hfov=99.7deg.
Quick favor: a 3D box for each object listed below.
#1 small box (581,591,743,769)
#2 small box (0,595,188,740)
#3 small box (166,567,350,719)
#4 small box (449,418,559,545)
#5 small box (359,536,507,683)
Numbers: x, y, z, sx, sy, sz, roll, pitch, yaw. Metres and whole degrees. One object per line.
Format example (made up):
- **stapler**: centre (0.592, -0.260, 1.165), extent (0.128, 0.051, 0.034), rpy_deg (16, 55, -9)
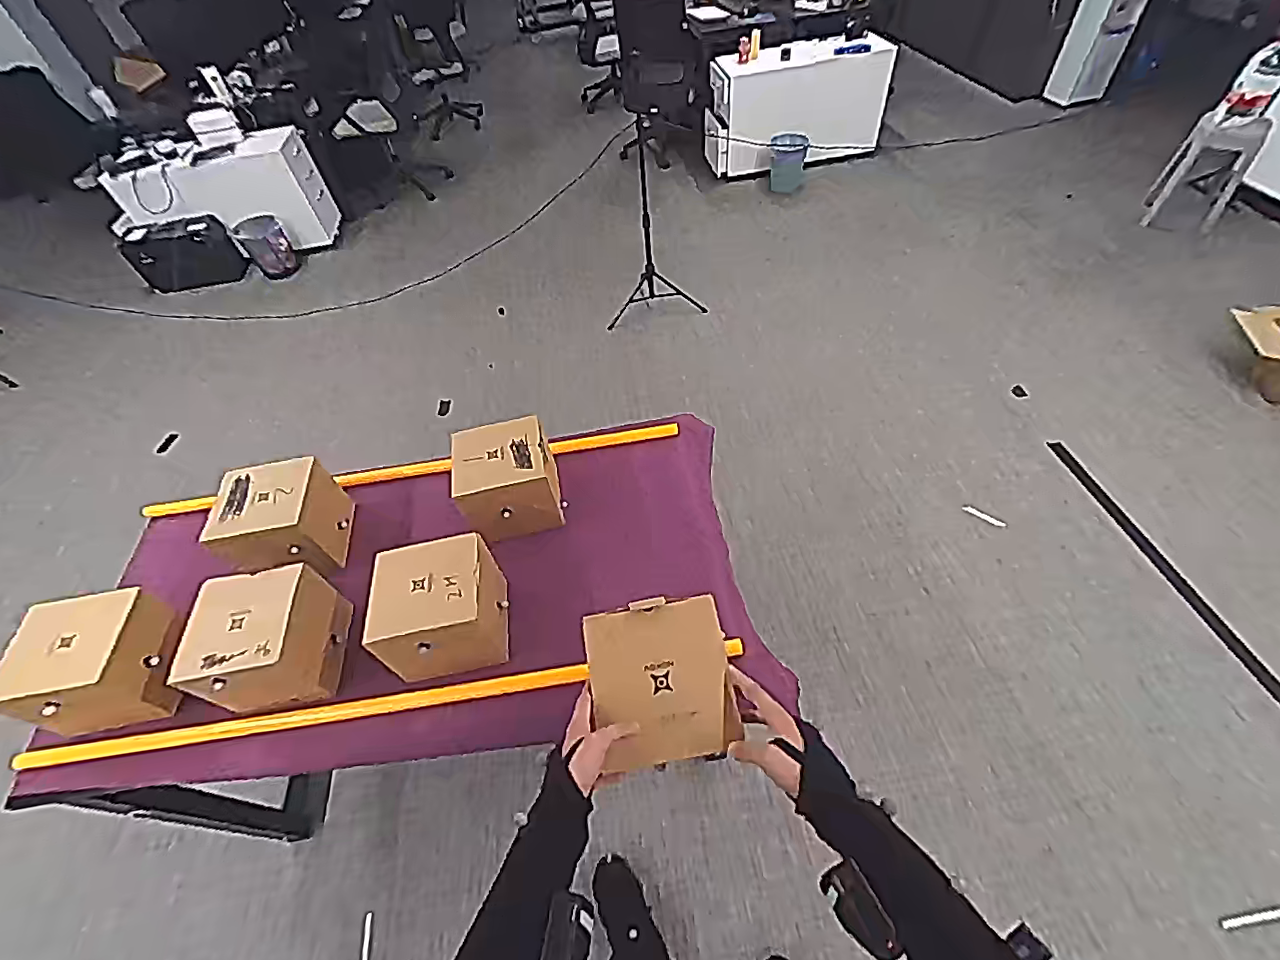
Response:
- **small box**: centre (0.021, 0.259, 0.699), extent (0.168, 0.176, 0.179), rpy_deg (-10, 66, -3)
- **small box**: centre (-0.894, 0.316, 0.904), extent (0.179, 0.176, 0.168), rpy_deg (-11, 50, -2)
- **small box**: centre (-0.617, 0.274, 0.904), extent (0.168, 0.176, 0.179), rpy_deg (-12, 50, 0)
- **small box**: centre (-0.263, 0.006, 1.076), extent (0.179, 0.176, 0.168), rpy_deg (-13, 52, -2)
- **small box**: centre (-0.335, 0.222, 0.911), extent (0.179, 0.176, 0.168), rpy_deg (-11, 50, -2)
